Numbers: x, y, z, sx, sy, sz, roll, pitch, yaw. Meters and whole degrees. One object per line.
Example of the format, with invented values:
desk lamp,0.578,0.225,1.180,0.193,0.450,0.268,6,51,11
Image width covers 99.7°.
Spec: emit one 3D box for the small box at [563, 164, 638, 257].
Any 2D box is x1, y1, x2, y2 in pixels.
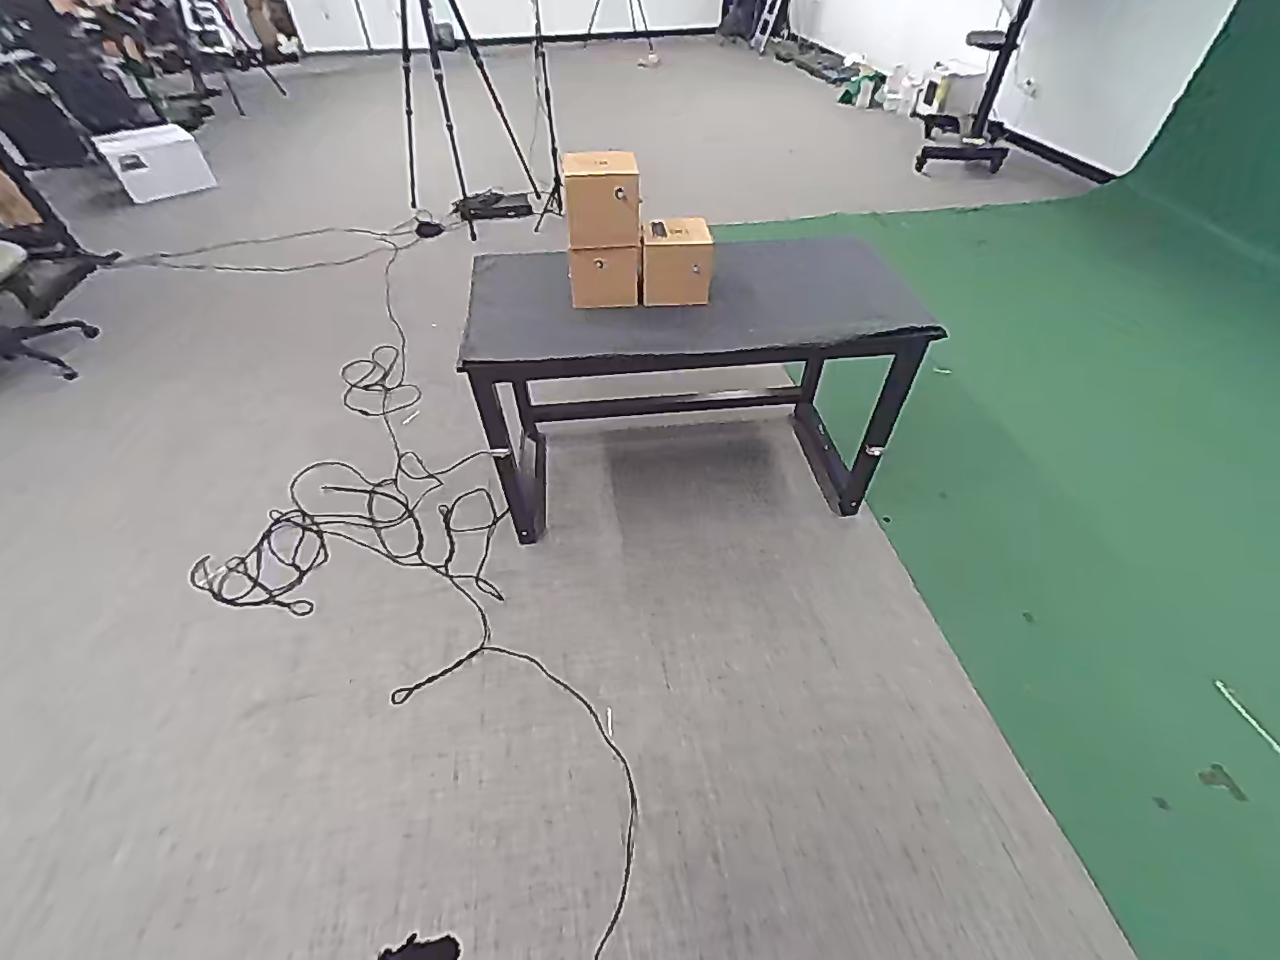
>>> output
small box,-0.099,-0.675,1.358,0.179,0.176,0.168,-4,46,-4
